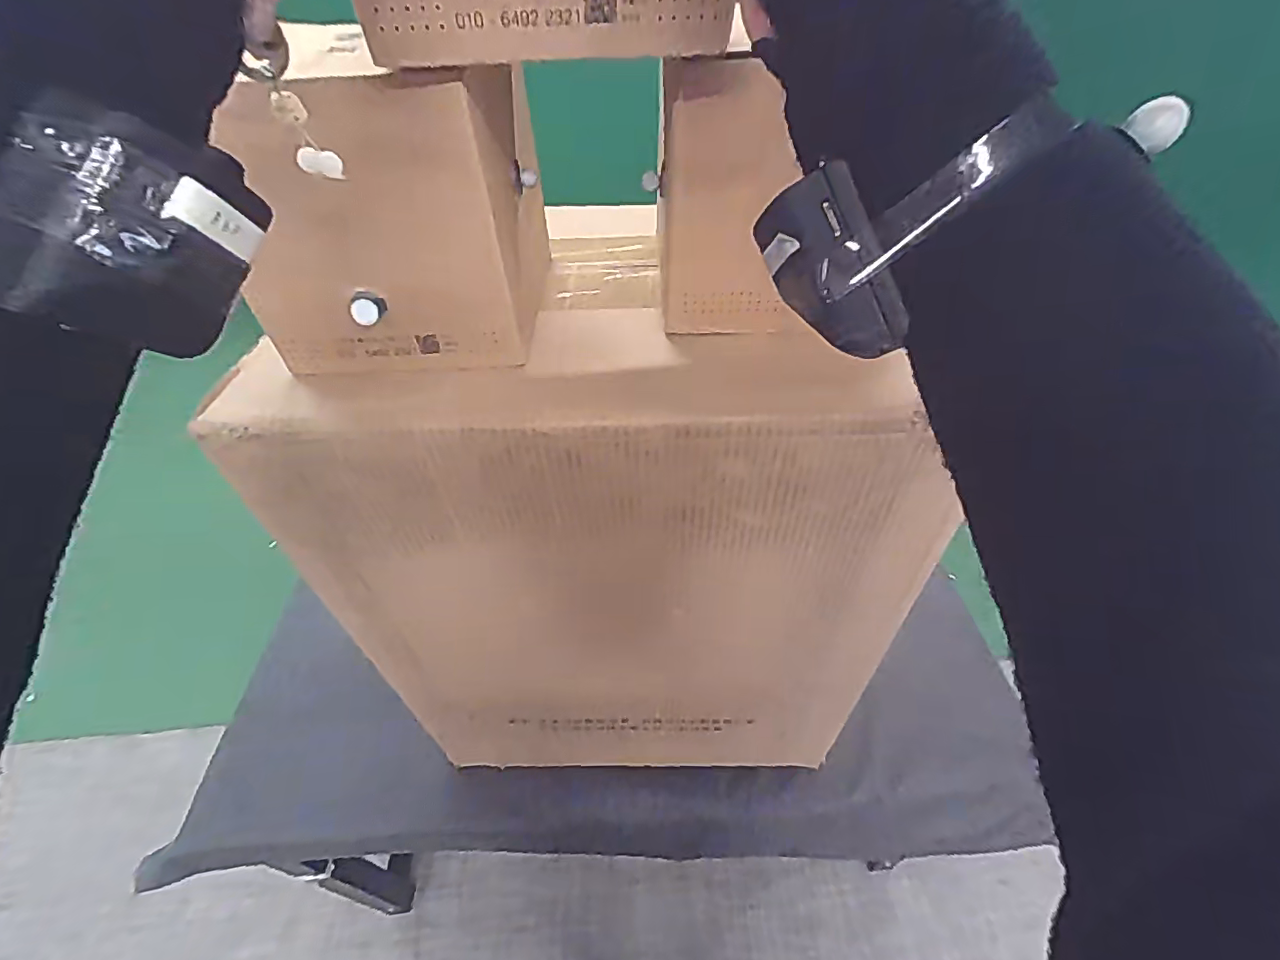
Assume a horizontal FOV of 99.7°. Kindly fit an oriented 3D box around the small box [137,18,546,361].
[{"bbox_3d":[-0.164,-0.201,0.377,0.168,0.176,0.179,-2,48,1],"label":"small box"}]

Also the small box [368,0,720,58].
[{"bbox_3d":[-0.051,-0.316,0.244,0.168,0.176,0.179,-5,51,-5],"label":"small box"}]

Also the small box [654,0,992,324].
[{"bbox_3d":[0.099,-0.229,0.395,0.179,0.176,0.168,0,48,-1],"label":"small box"}]
